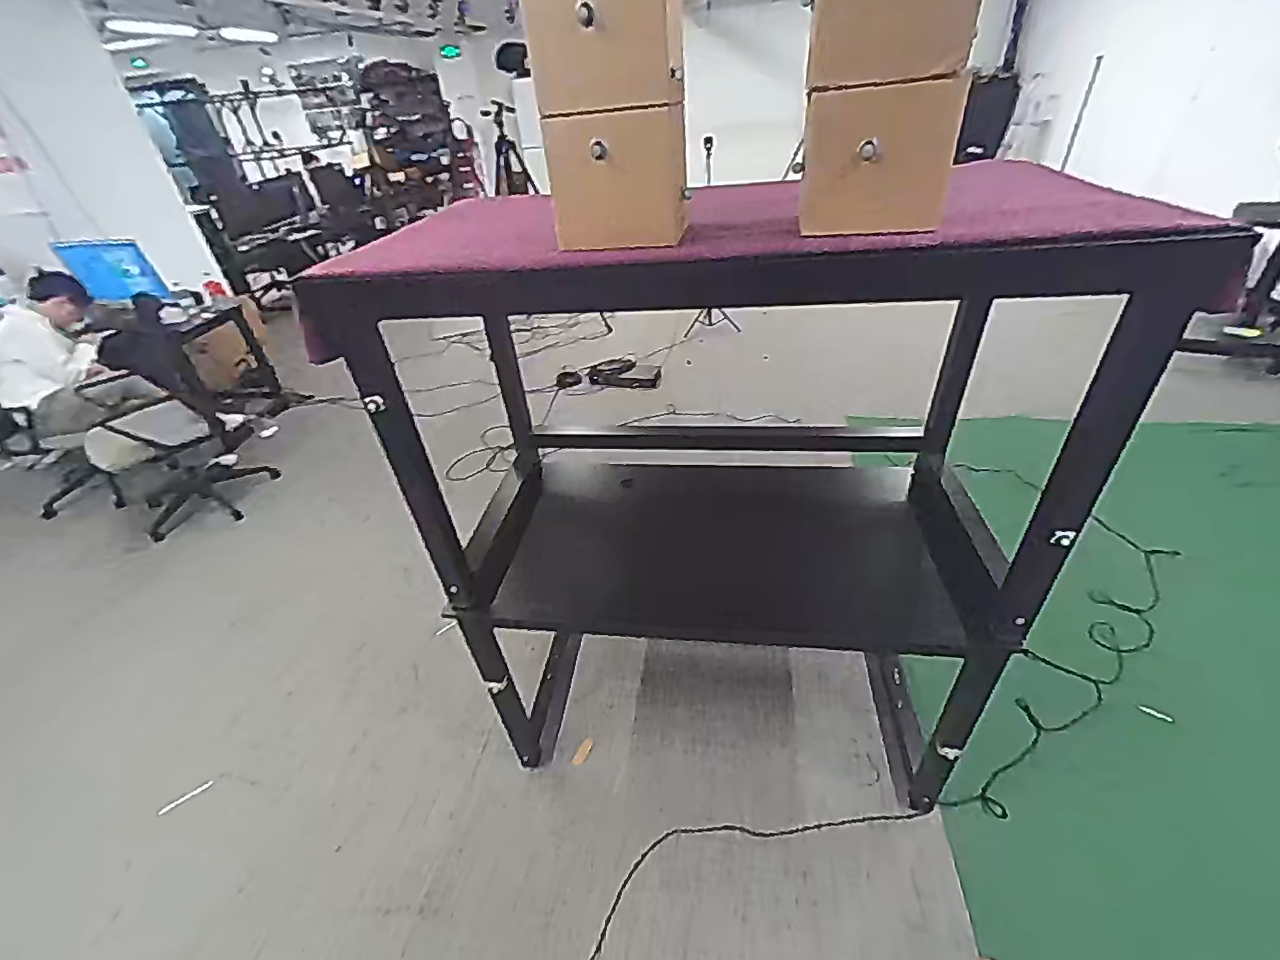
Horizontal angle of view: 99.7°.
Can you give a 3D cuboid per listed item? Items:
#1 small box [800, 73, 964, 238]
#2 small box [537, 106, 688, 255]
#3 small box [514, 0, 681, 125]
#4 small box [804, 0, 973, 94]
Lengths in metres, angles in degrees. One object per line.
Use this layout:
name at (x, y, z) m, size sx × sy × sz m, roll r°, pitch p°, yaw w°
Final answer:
small box at (0.313, -0.440, 0.741) m, size 0.179 × 0.176 × 0.168 m, roll 1°, pitch 37°, yaw 13°
small box at (-0.028, -0.439, 0.798) m, size 0.179 × 0.176 × 0.168 m, roll 2°, pitch 37°, yaw 12°
small box at (-0.044, -0.572, 0.702) m, size 0.179 × 0.176 × 0.168 m, roll 1°, pitch 36°, yaw 13°
small box at (0.292, -0.574, 0.649) m, size 0.179 × 0.176 × 0.168 m, roll 3°, pitch 37°, yaw 14°
